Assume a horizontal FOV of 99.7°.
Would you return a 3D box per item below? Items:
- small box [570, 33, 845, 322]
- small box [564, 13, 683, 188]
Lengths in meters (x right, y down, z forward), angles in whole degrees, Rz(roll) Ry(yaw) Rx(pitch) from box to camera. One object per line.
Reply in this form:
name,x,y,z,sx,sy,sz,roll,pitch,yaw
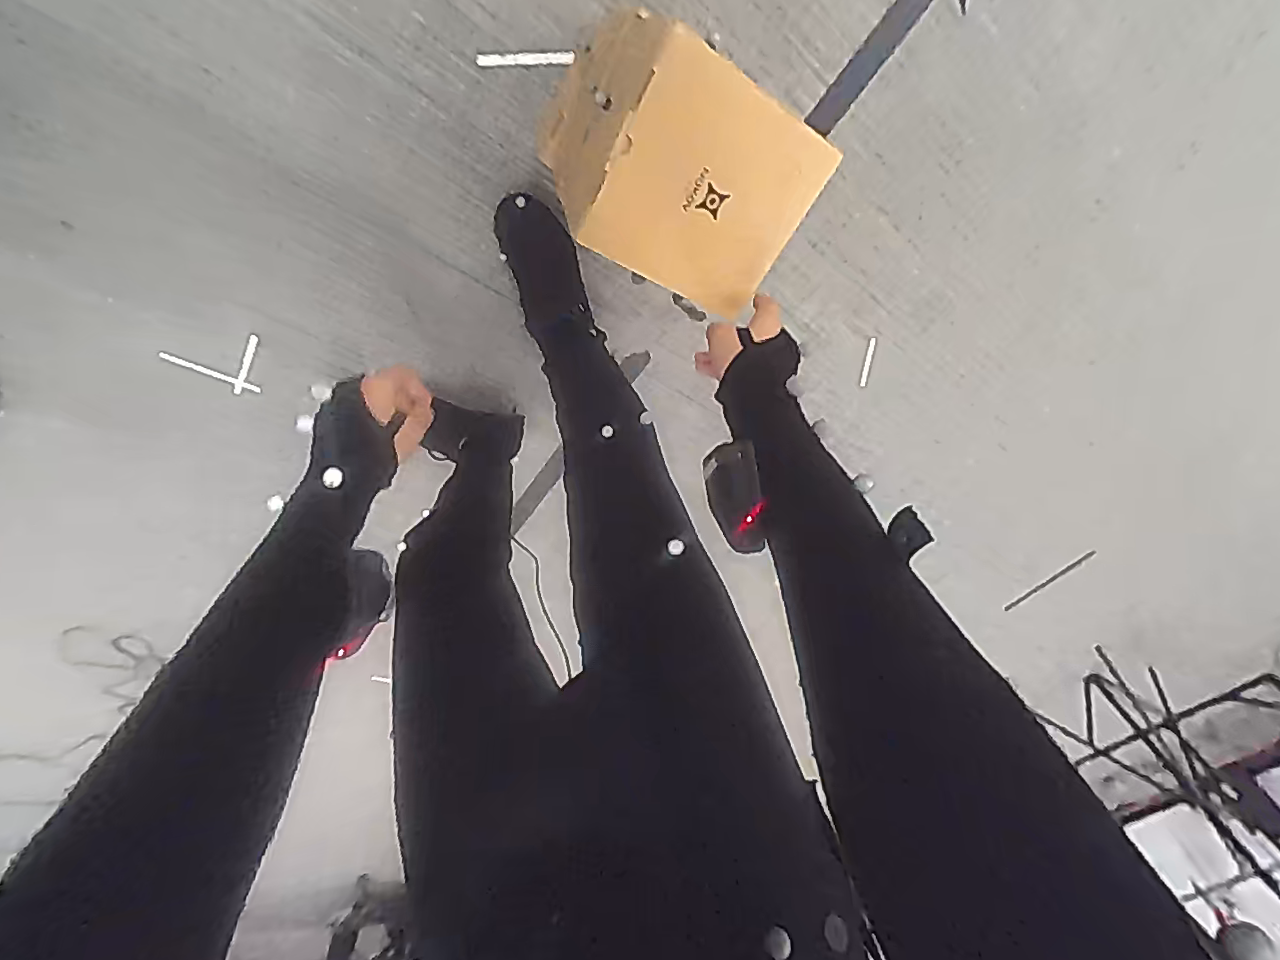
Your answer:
small box,0.048,-0.286,0.513,0.179,0.176,0.168,18,124,-26
small box,0.019,-0.396,0.630,0.168,0.176,0.179,19,125,-27
